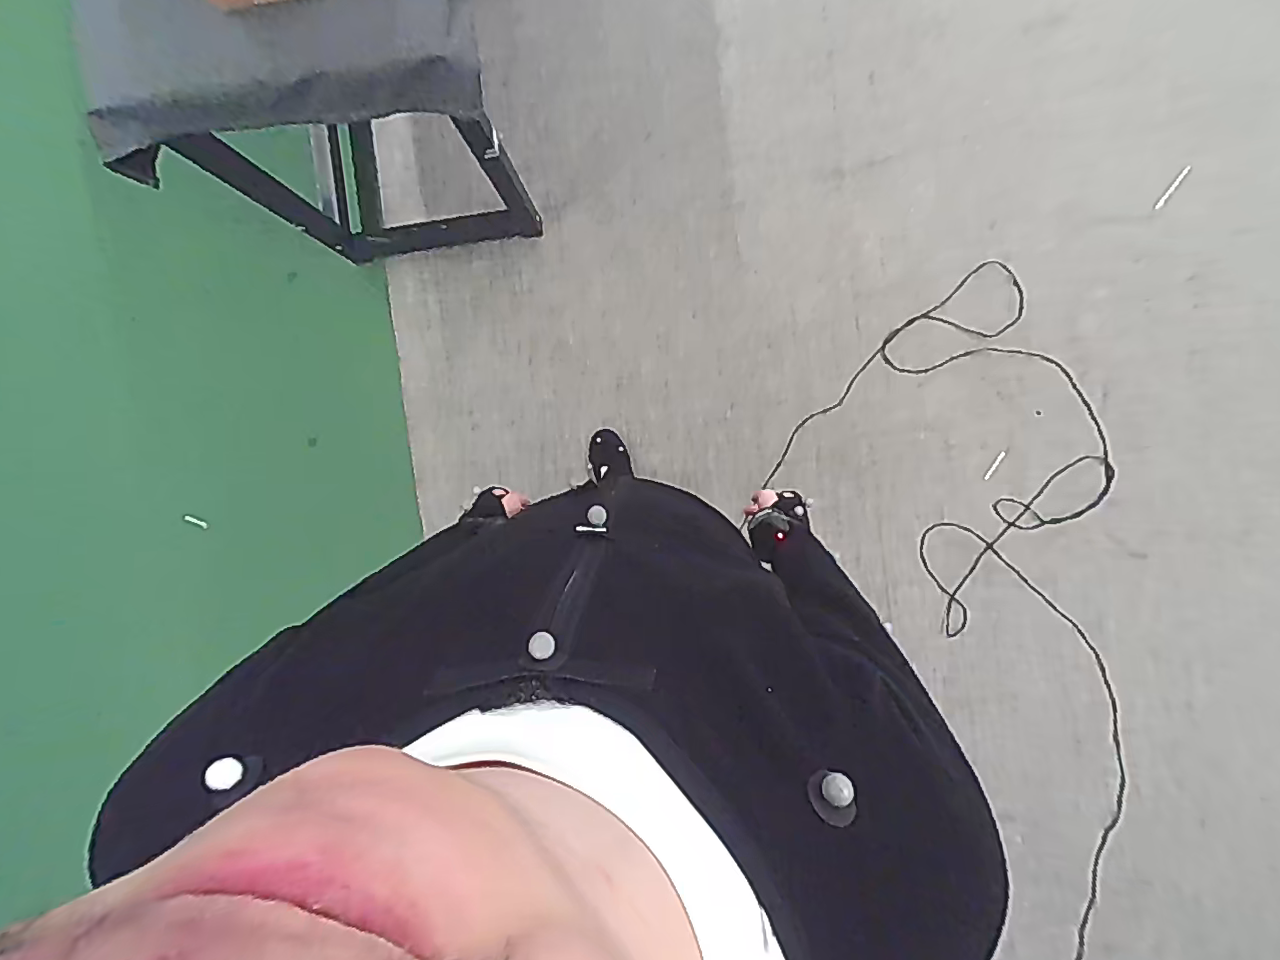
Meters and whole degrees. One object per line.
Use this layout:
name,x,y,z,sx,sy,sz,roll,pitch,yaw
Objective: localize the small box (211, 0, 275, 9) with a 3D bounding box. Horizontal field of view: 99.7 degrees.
small box,-0.591,-0.823,0.762,0.179,0.176,0.168,-8,91,3
